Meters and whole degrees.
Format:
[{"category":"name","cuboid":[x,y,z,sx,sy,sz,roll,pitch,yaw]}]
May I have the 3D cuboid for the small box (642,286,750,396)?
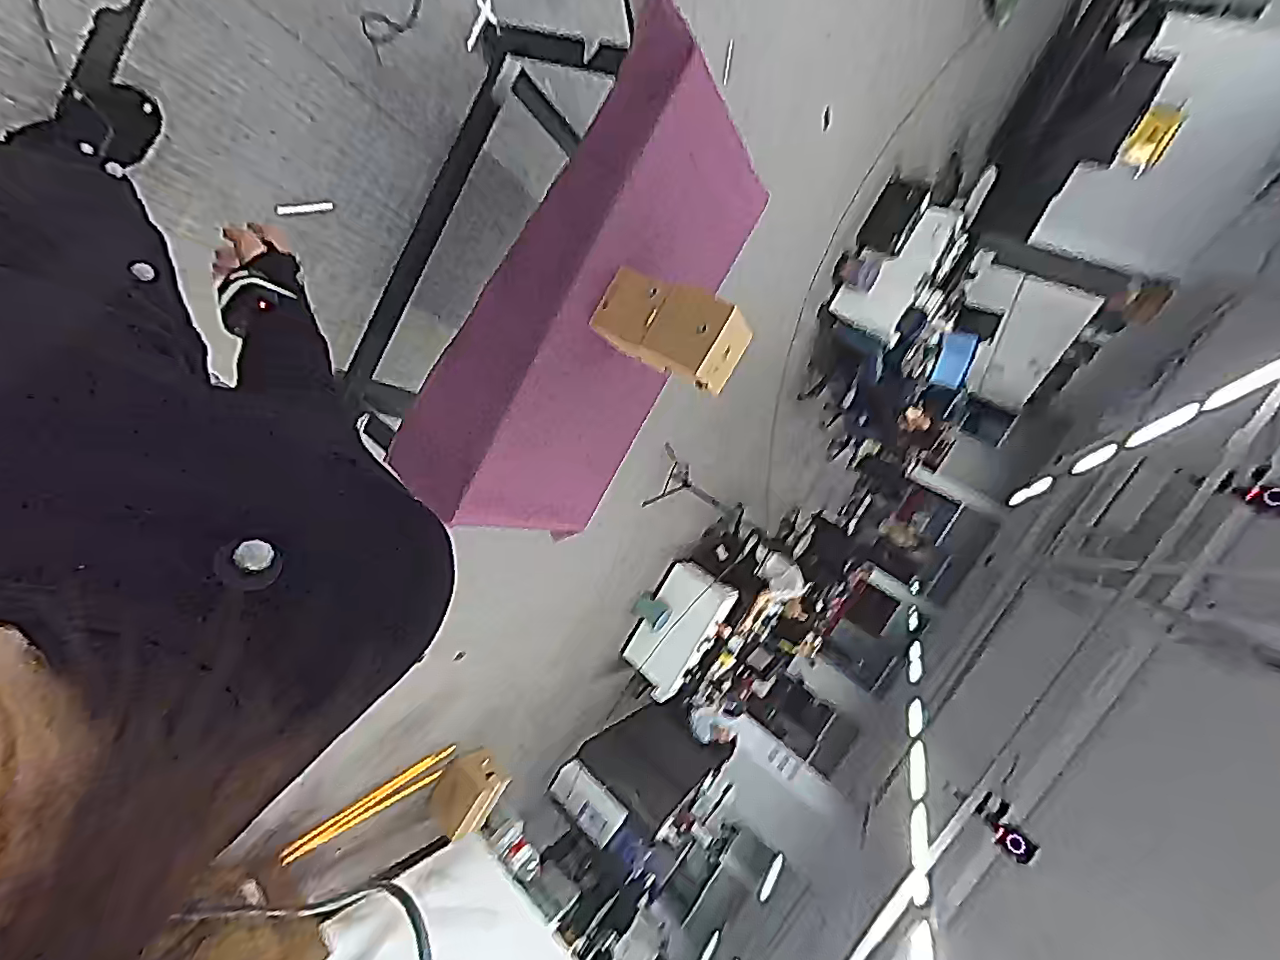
[{"category":"small box","cuboid":[0.132,-0.333,1.291,0.179,0.176,0.168,-59,154,4]}]
